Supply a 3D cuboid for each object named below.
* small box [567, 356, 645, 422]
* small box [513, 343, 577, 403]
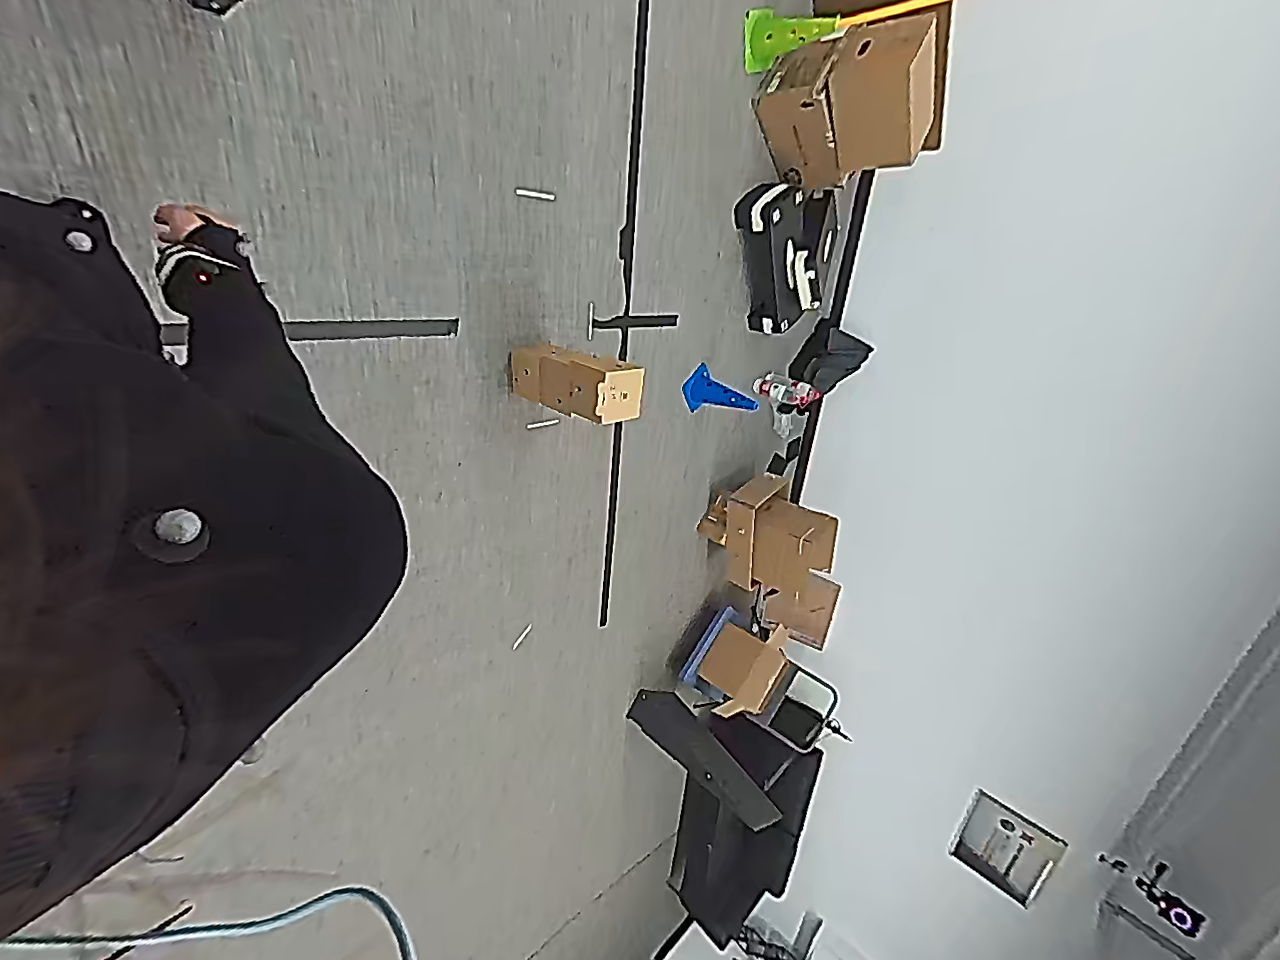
[{"bbox_3d":[-0.110,-0.296,1.723,0.179,0.176,0.168,-17,123,-44],"label":"small box"},{"bbox_3d":[-0.343,-0.389,1.939,0.179,0.176,0.168,-23,127,-41],"label":"small box"}]
